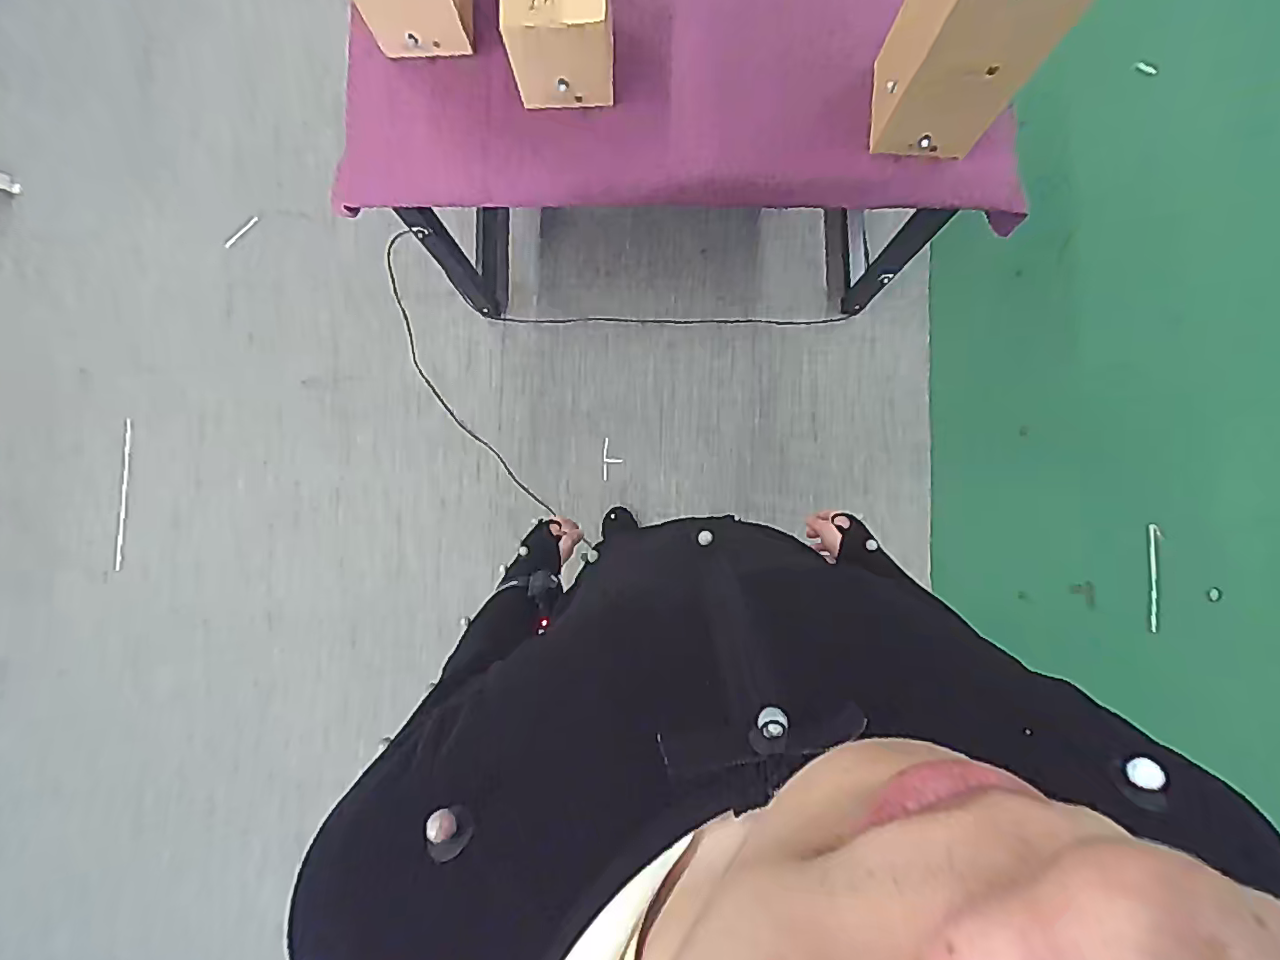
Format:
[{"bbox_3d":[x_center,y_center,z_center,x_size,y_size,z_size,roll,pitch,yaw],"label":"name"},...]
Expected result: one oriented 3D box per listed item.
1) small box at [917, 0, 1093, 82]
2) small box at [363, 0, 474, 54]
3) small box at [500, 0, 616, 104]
[{"bbox_3d":[0.491,-0.682,0.720,0.168,0.176,0.179,5,85,3],"label":"small box"},{"bbox_3d":[-0.391,-0.882,0.925,0.168,0.176,0.179,-1,87,2],"label":"small box"},{"bbox_3d":[-0.130,-0.779,0.911,0.168,0.176,0.179,0,86,2],"label":"small box"}]
